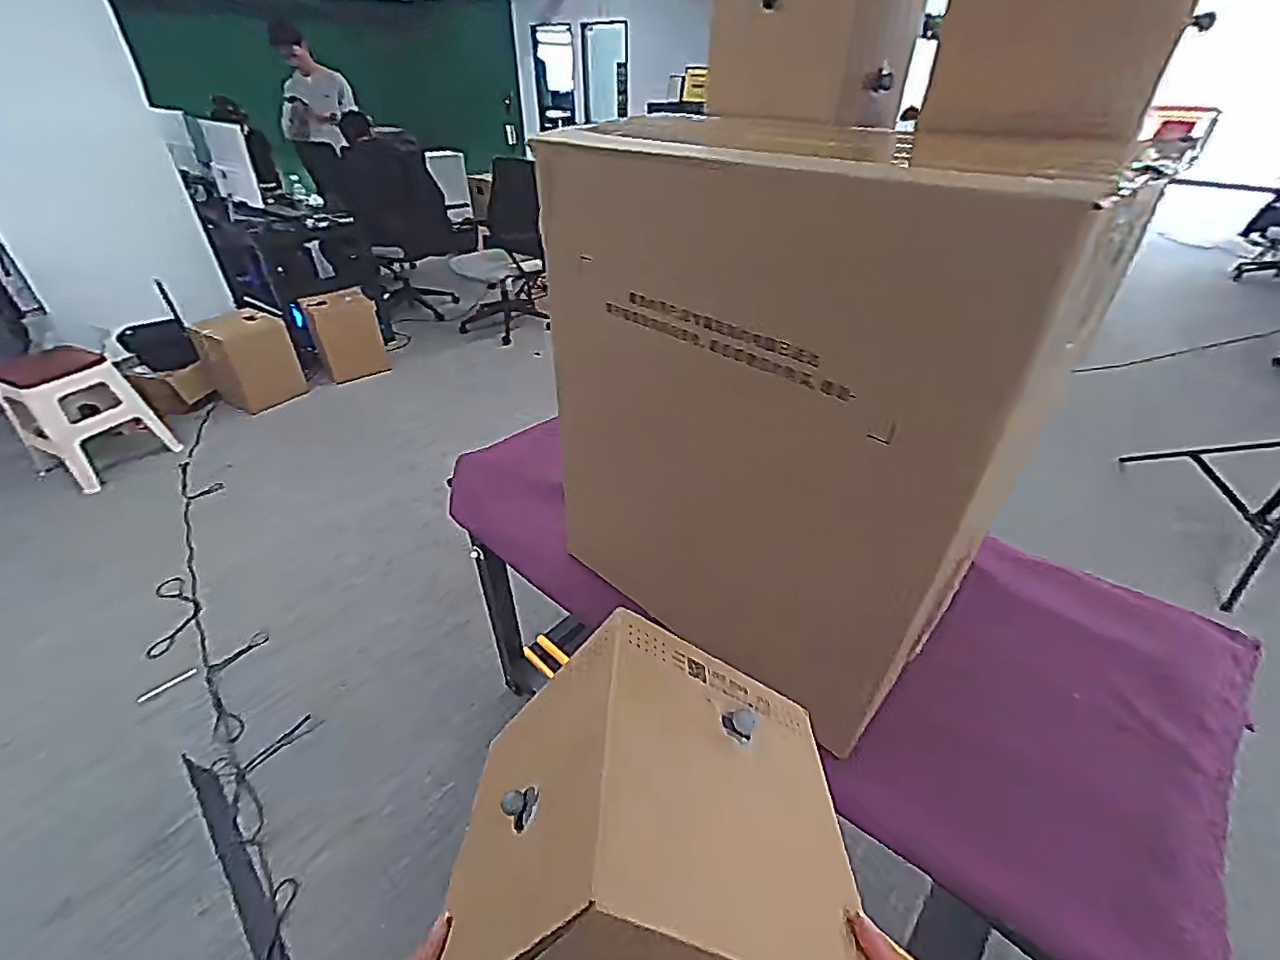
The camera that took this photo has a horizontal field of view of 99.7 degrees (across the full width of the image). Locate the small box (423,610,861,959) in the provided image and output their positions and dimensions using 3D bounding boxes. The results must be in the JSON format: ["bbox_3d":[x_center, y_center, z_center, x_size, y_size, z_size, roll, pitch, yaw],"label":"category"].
[{"bbox_3d":[-0.002,0.218,0.331,0.168,0.179,0.176,32,24,-16],"label":"small box"}]

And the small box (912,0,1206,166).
[{"bbox_3d":[0.379,-0.388,0.489,0.179,0.176,0.168,24,43,31],"label":"small box"}]

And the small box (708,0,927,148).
[{"bbox_3d":[0.193,-0.485,0.614,0.179,0.176,0.168,30,47,32],"label":"small box"}]
